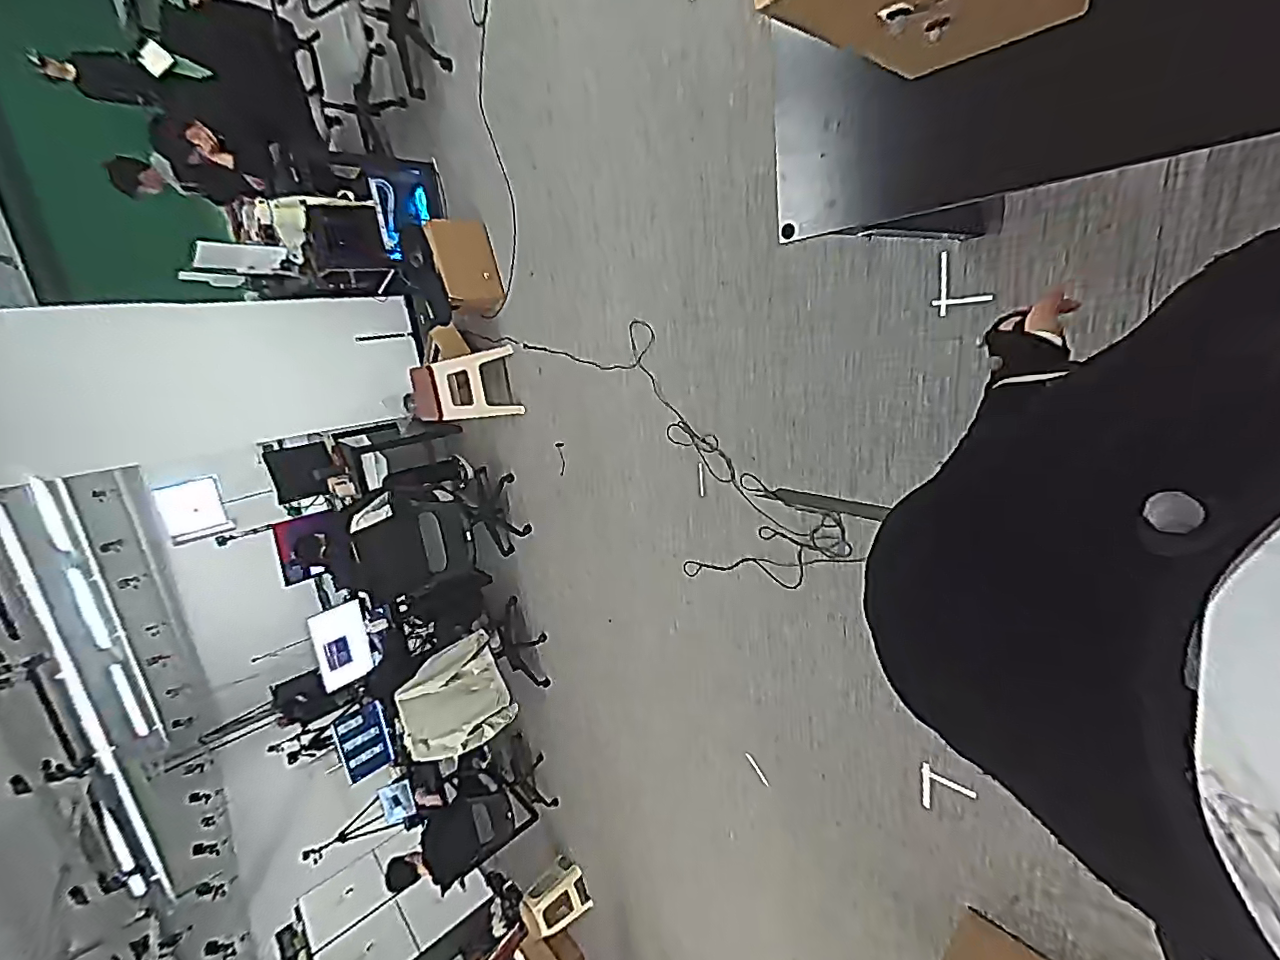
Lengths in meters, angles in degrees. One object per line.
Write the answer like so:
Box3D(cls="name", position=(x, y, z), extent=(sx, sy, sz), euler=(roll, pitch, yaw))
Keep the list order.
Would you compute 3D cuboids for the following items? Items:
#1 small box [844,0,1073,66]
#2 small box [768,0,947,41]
Box3D(cls="small box", position=(0.325, -0.549, 0.534), extent=(0.179, 0.176, 0.168), euler=(12, 114, 46))
Box3D(cls="small box", position=(0.204, -0.506, 0.436), extent=(0.168, 0.176, 0.179), euler=(12, 115, 49))
